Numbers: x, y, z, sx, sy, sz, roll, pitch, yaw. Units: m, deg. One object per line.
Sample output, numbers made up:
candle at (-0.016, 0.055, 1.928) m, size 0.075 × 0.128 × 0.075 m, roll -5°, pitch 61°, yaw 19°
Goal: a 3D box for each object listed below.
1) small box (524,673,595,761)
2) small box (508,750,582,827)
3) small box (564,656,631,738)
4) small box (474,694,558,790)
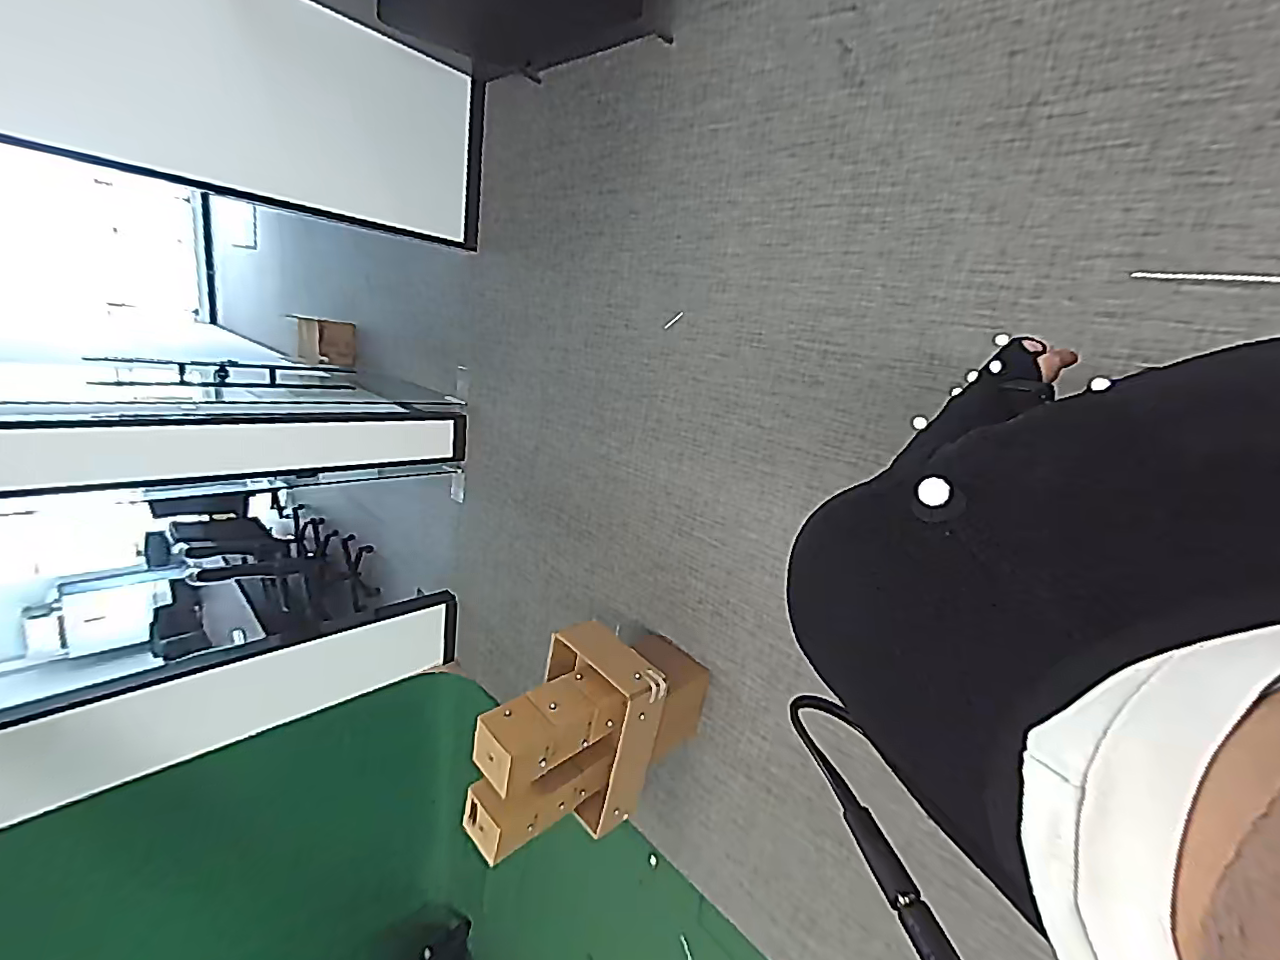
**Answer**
small box at (-0.267, 0.757, 1.752) m, size 0.179 × 0.176 × 0.168 m, roll 27°, pitch 114°, yaw 38°
small box at (-0.320, 1.013, 1.835) m, size 0.179 × 0.176 × 0.168 m, roll 29°, pitch 113°, yaw 37°
small box at (-0.155, 0.740, 1.870) m, size 0.179 × 0.176 × 0.168 m, roll 28°, pitch 115°, yaw 38°
small box at (-0.375, 0.776, 1.631) m, size 0.179 × 0.176 × 0.168 m, roll 28°, pitch 115°, yaw 37°
